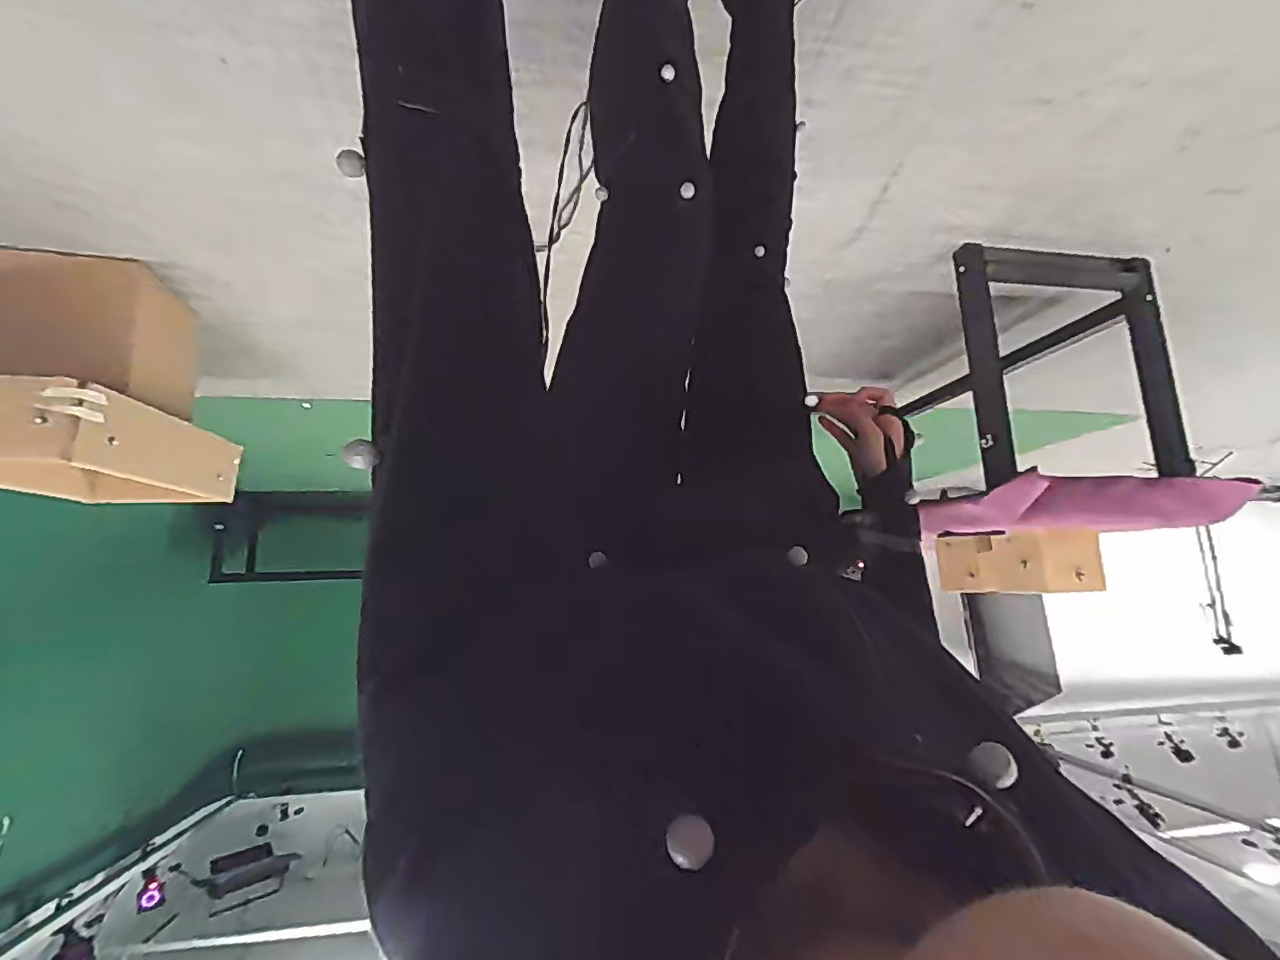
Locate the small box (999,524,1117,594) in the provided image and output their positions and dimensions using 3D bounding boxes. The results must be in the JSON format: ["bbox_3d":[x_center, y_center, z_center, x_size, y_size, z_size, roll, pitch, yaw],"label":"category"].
[{"bbox_3d":[1.095,0.212,1.430,0.179,0.176,0.168,-1,169,-7],"label":"small box"}]
